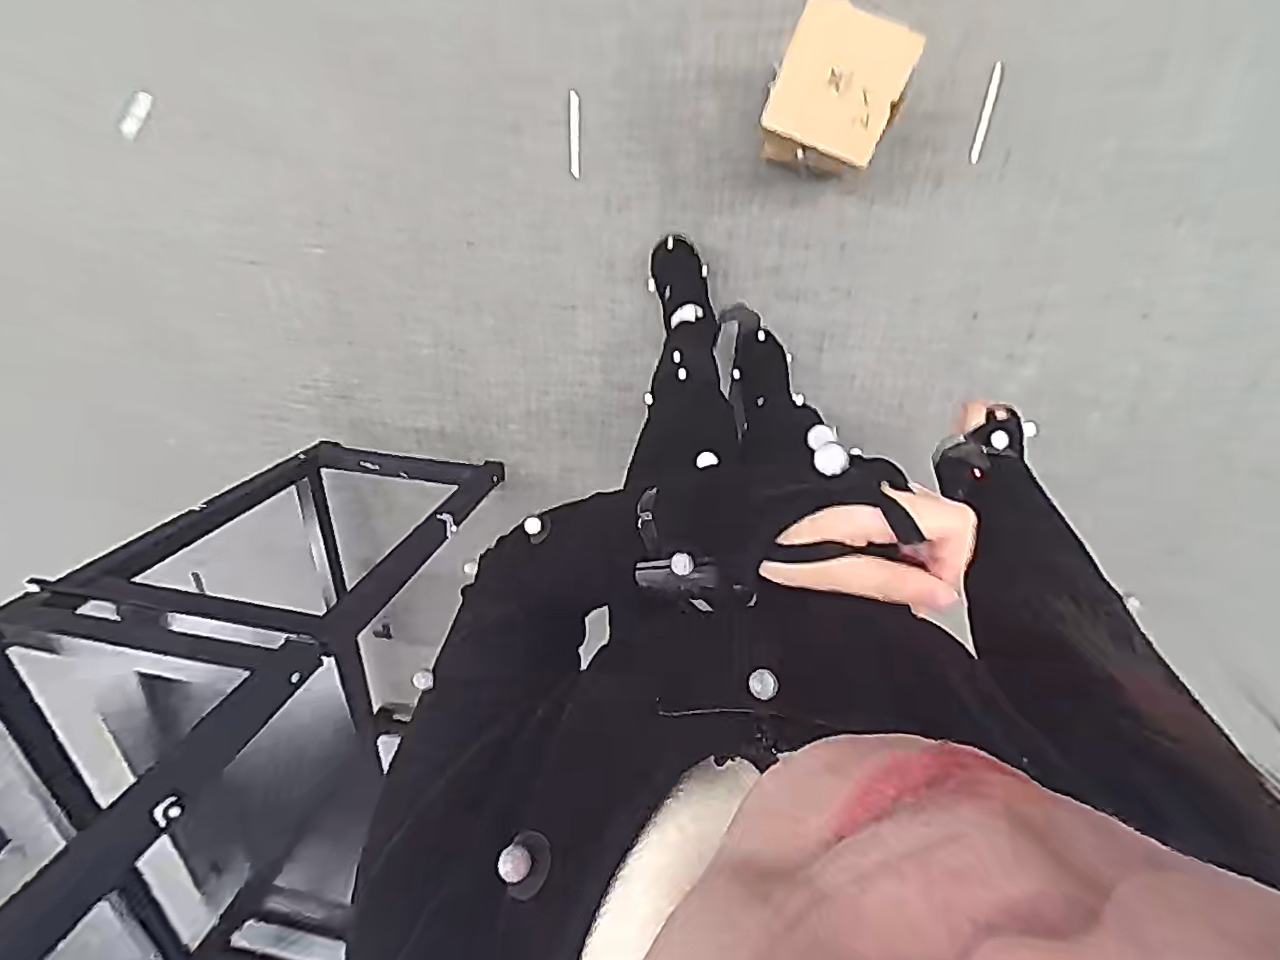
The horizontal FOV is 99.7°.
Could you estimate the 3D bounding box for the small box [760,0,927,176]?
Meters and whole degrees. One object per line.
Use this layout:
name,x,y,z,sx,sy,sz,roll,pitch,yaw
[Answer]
small box,0.301,-0.595,0.847,0.179,0.176,0.168,23,118,-1

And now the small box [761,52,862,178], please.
small box,0.329,-0.662,0.995,0.179,0.176,0.168,11,117,4
